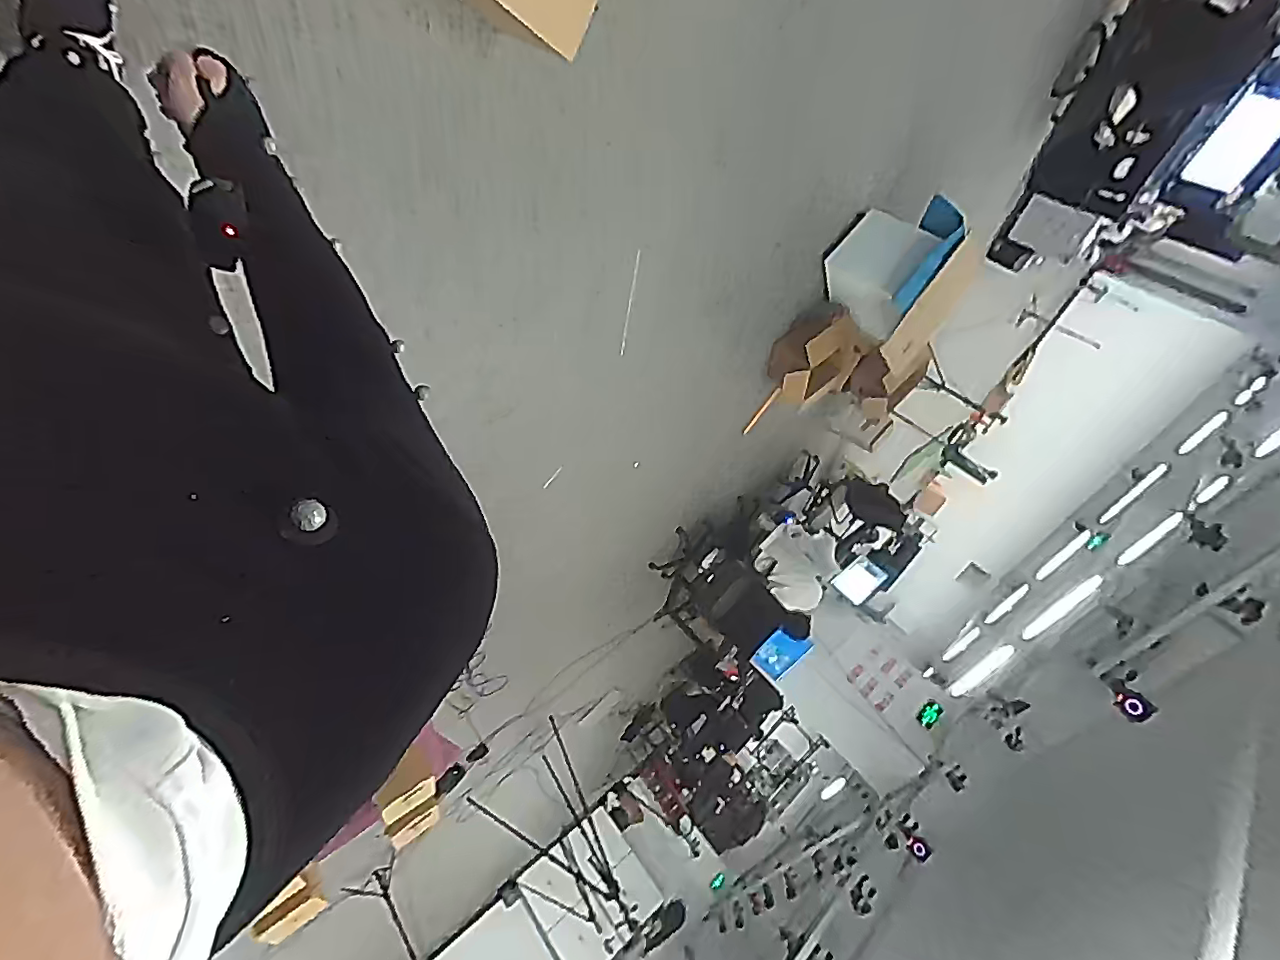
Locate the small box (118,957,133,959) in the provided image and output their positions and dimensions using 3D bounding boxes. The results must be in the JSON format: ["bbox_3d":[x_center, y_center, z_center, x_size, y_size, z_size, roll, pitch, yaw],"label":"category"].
[{"bbox_3d":[-1.485,1.477,1.494,0.168,0.176,0.179,-22,144,-40],"label":"small box"}]

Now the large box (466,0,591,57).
[{"bbox_3d":[-0.304,-1.159,1.079,0.408,0.320,0.320,-2,129,-52],"label":"large box"}]

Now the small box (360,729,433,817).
[{"bbox_3d":[-0.792,0.946,1.760,0.168,0.176,0.179,-23,147,-37],"label":"small box"}]

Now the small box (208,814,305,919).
[{"bbox_3d":[-1.092,1.098,1.545,0.168,0.176,0.179,-26,147,-36],"label":"small box"}]

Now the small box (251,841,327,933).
[{"bbox_3d":[-1.153,1.318,1.758,0.168,0.176,0.179,-28,147,-31],"label":"small box"}]
